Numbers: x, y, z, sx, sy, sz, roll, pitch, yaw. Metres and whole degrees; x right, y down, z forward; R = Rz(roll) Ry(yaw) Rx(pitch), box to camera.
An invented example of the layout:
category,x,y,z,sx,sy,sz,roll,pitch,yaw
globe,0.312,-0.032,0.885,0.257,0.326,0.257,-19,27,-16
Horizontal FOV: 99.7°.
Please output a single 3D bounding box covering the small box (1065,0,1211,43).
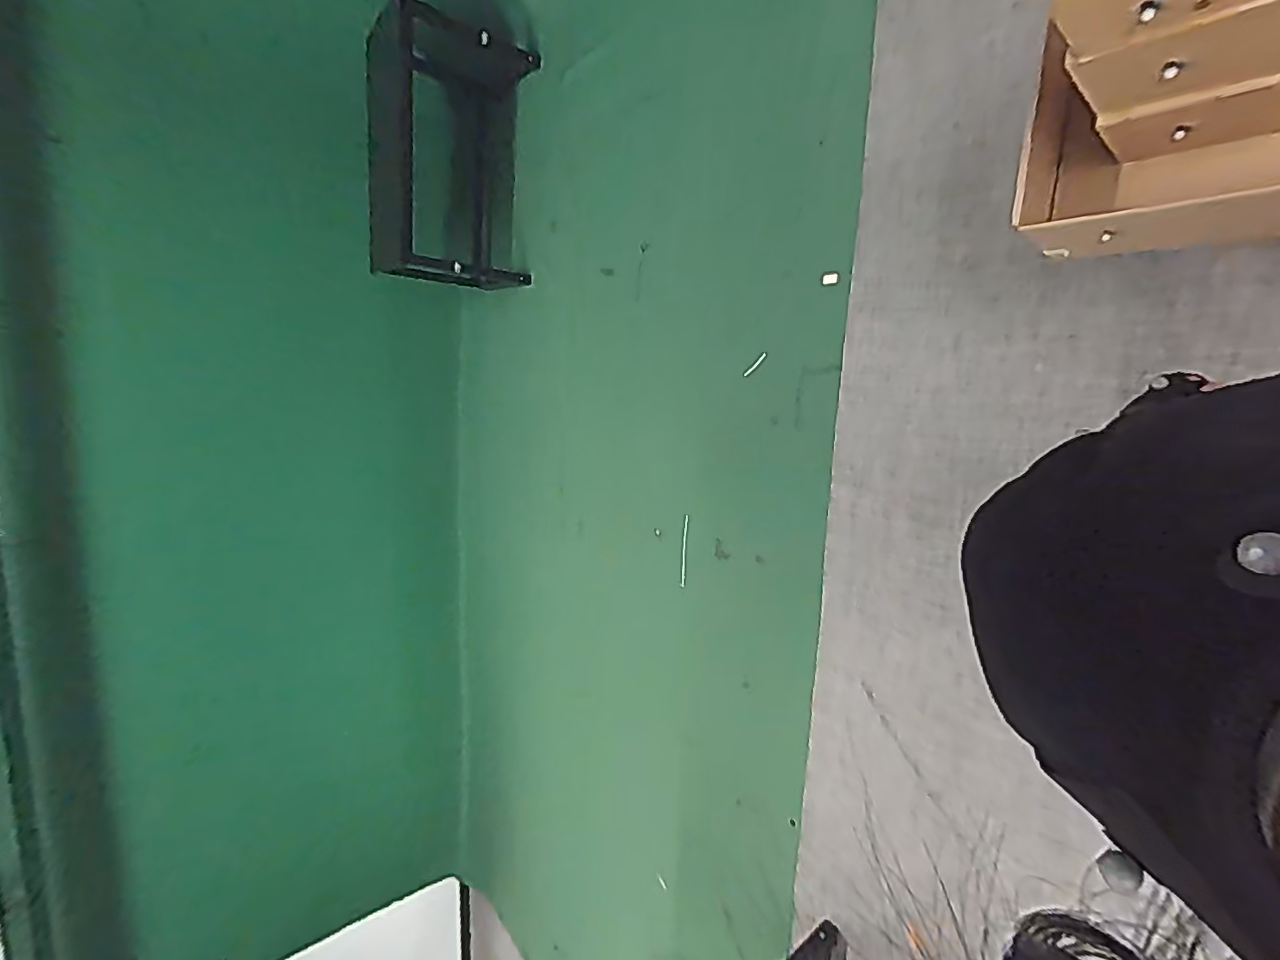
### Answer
category,x,y,z,sx,sy,sz,roll,pitch,yaw
small box,0.500,-0.566,0.498,0.168,0.176,0.179,11,103,50
